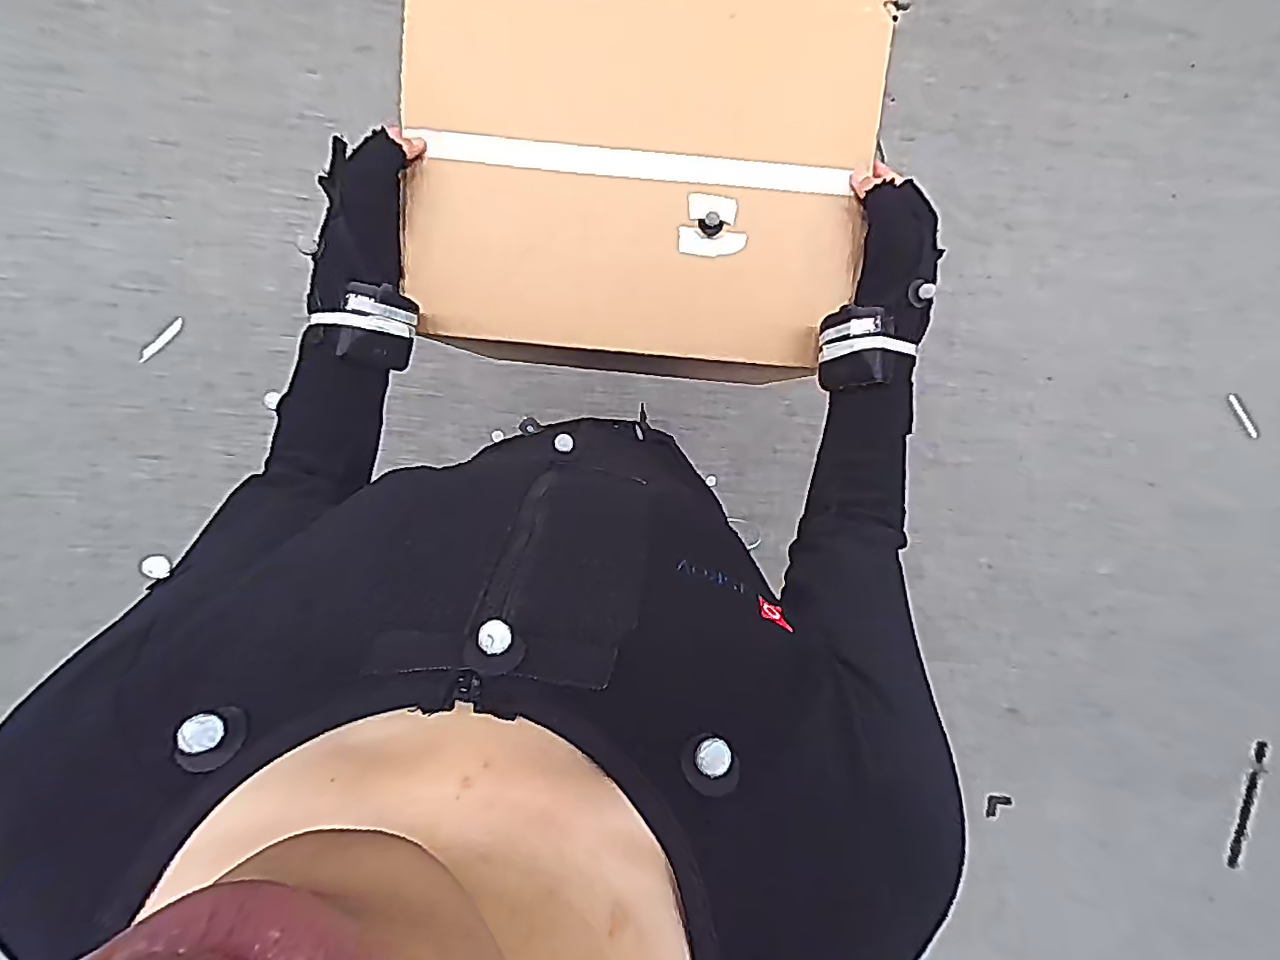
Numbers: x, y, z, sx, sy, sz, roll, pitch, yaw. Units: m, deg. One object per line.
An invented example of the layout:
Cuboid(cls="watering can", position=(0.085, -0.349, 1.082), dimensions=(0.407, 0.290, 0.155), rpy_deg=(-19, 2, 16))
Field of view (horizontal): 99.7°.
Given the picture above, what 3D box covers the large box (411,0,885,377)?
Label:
Cuboid(cls="large box", position=(-0.003, -0.294, 0.619), dimensions=(0.408, 0.320, 0.320), rpy_deg=(4, 98, -2))
